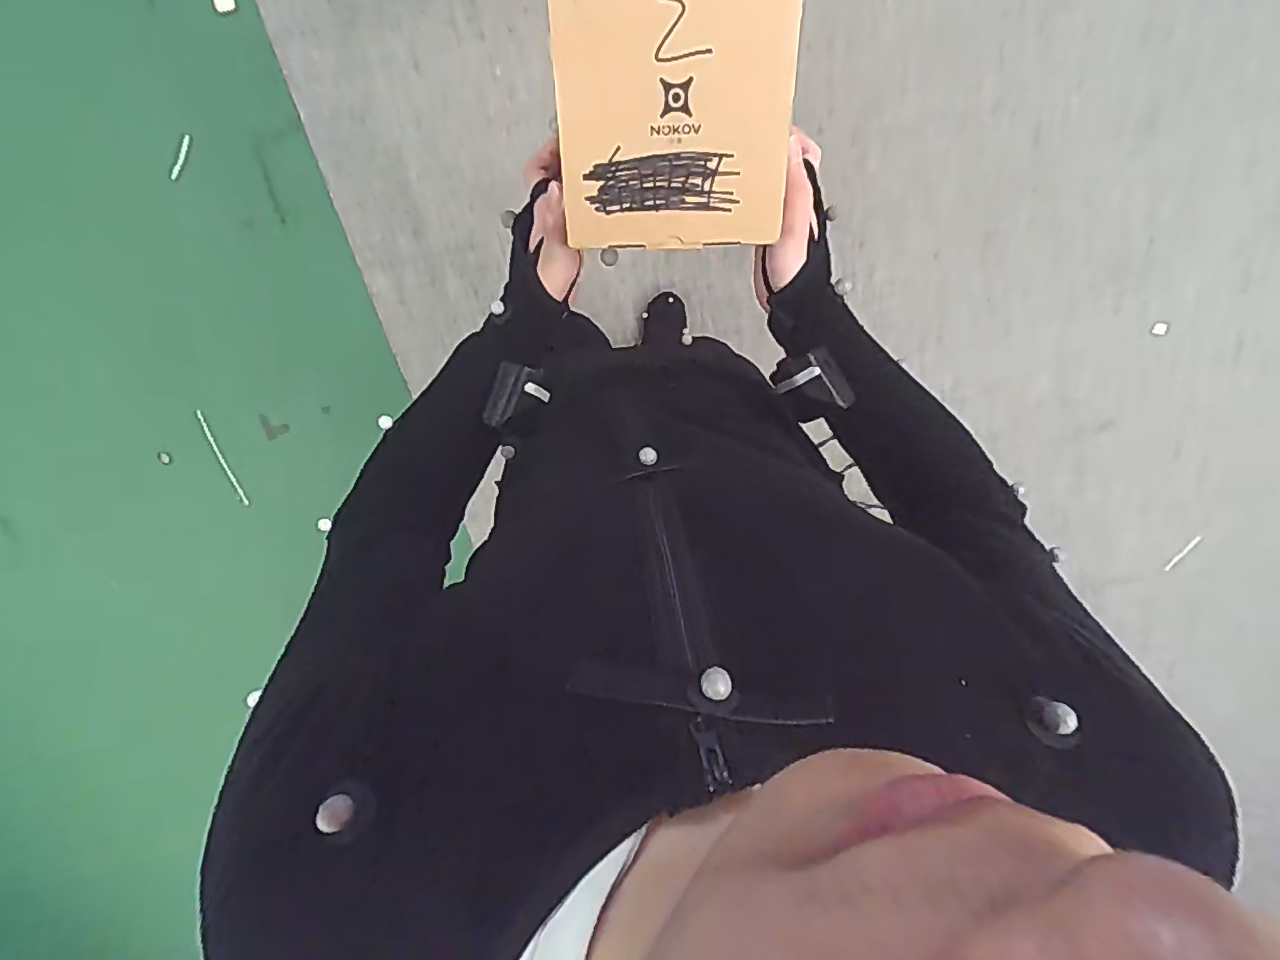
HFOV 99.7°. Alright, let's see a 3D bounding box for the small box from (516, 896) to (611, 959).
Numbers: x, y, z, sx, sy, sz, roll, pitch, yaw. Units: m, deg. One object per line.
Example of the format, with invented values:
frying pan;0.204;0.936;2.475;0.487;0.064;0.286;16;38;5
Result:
small box;-0.168;1.087;1.217;0.168;0.176;0.179;-15;109;6
